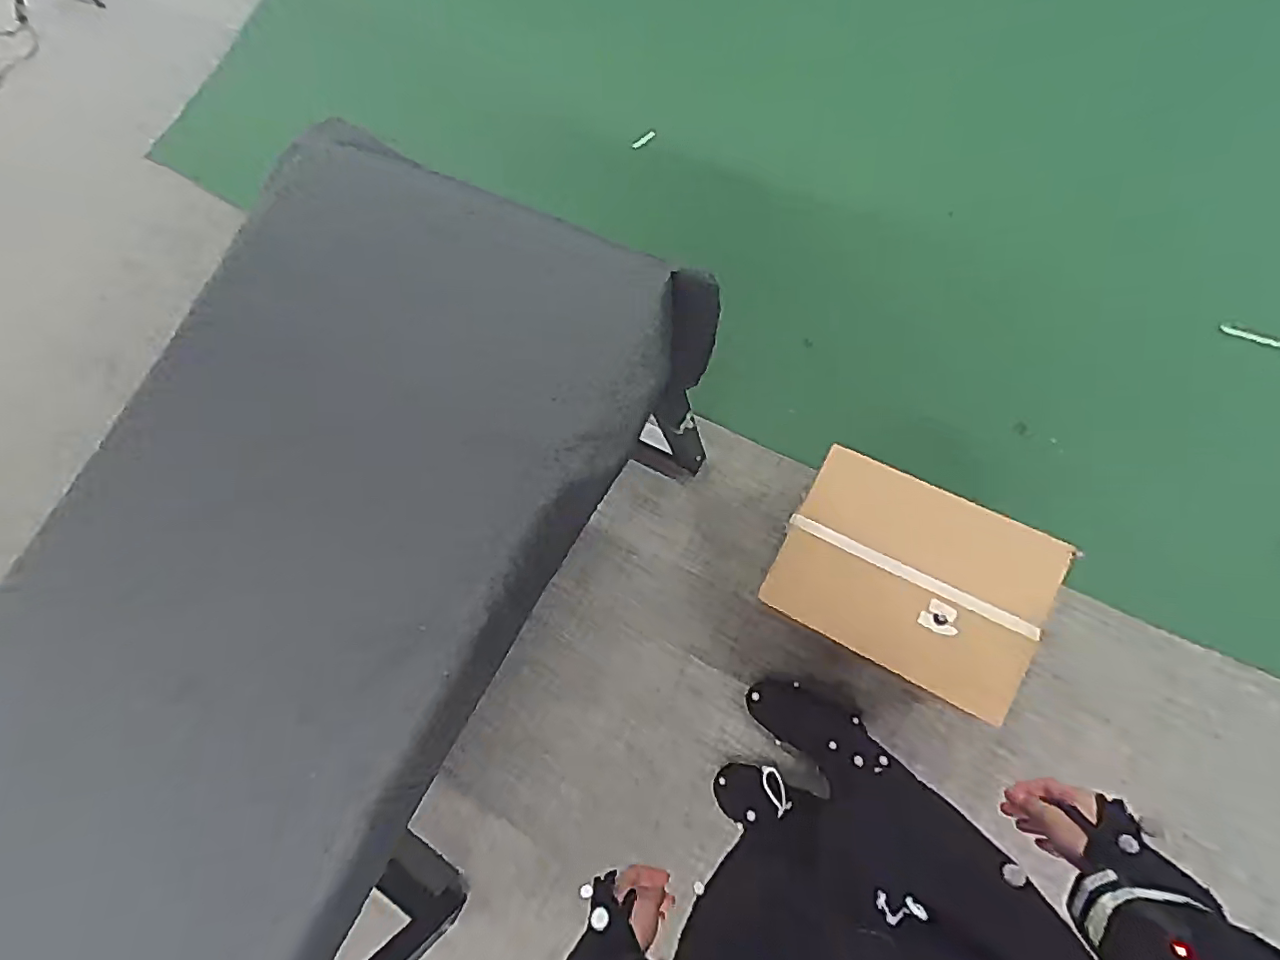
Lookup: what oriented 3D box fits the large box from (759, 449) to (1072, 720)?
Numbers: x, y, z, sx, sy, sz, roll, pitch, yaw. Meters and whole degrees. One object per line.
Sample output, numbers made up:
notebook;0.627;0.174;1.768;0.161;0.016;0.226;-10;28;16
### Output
large box;0.476;0.191;1.036;0.408;0.320;0.320;26;83;16
